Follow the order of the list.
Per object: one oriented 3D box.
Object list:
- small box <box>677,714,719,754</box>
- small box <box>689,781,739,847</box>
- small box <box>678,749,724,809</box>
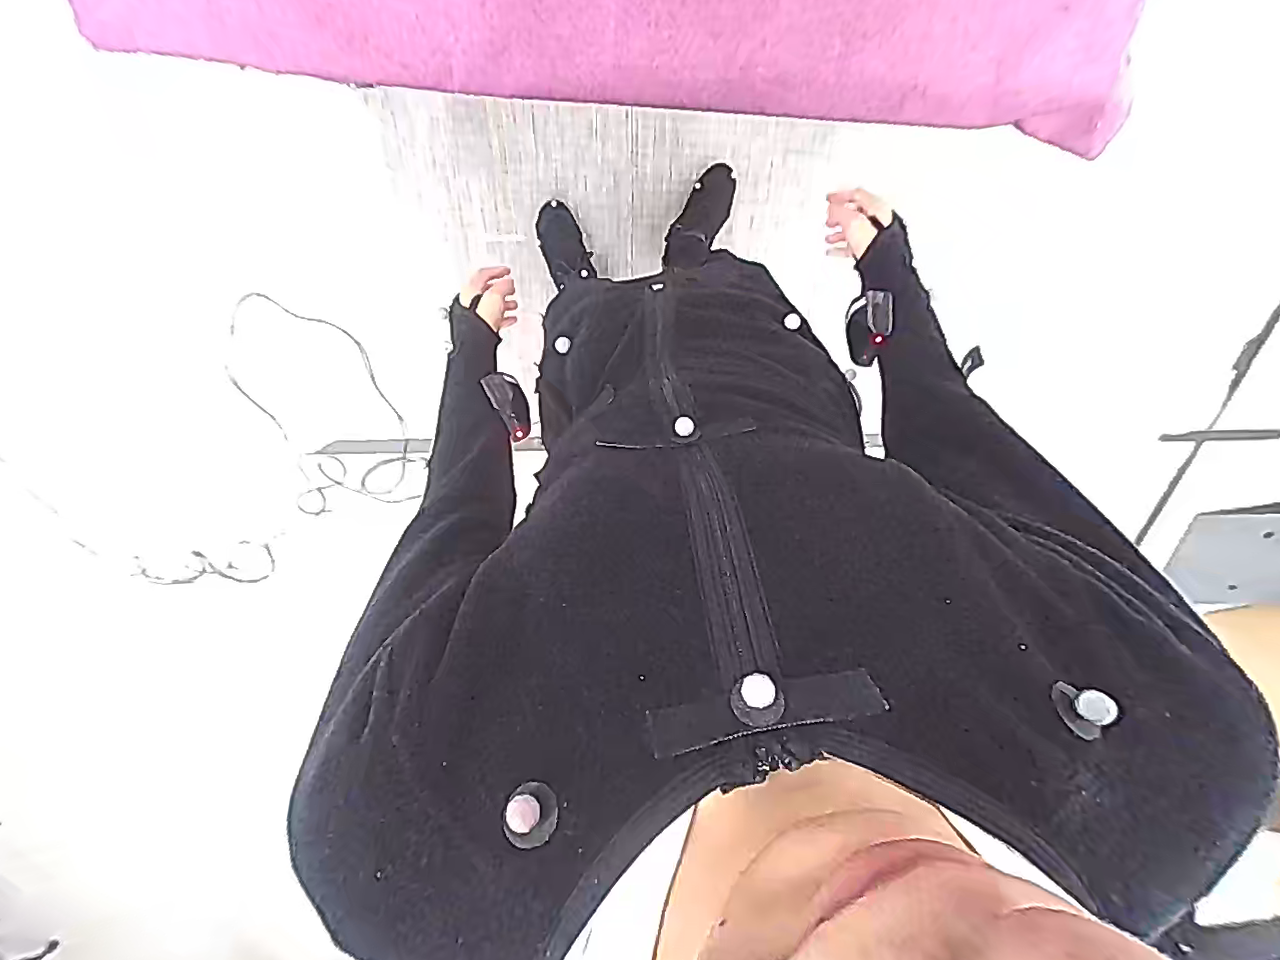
[{"bbox_3d":[0.266,1.220,2.518,0.168,0.176,0.179,-5,122,-4],"label":"small box"},{"bbox_3d":[0.302,1.376,2.231,0.168,0.176,0.179,-4,122,-6],"label":"small box"},{"bbox_3d":[0.270,1.310,2.380,0.179,0.176,0.168,-6,123,-3],"label":"small box"}]
